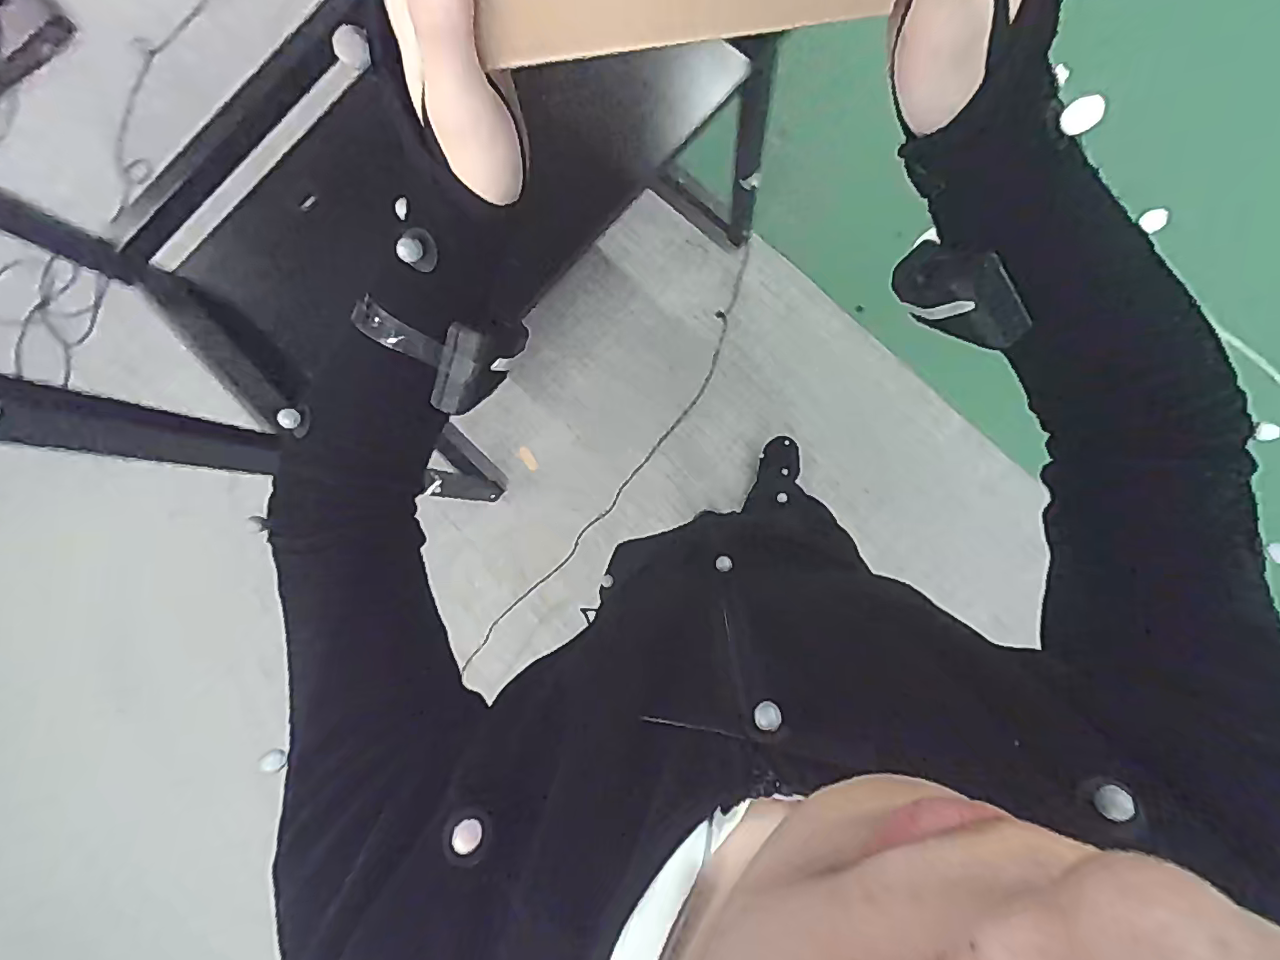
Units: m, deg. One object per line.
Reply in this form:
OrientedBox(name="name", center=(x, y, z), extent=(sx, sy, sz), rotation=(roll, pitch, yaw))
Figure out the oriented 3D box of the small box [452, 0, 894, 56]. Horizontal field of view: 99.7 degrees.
OrientedBox(name="small box", center=(0.006, -0.280, 0.161), extent=(0.168, 0.179, 0.176), rotation=(-1, 68, 7))
